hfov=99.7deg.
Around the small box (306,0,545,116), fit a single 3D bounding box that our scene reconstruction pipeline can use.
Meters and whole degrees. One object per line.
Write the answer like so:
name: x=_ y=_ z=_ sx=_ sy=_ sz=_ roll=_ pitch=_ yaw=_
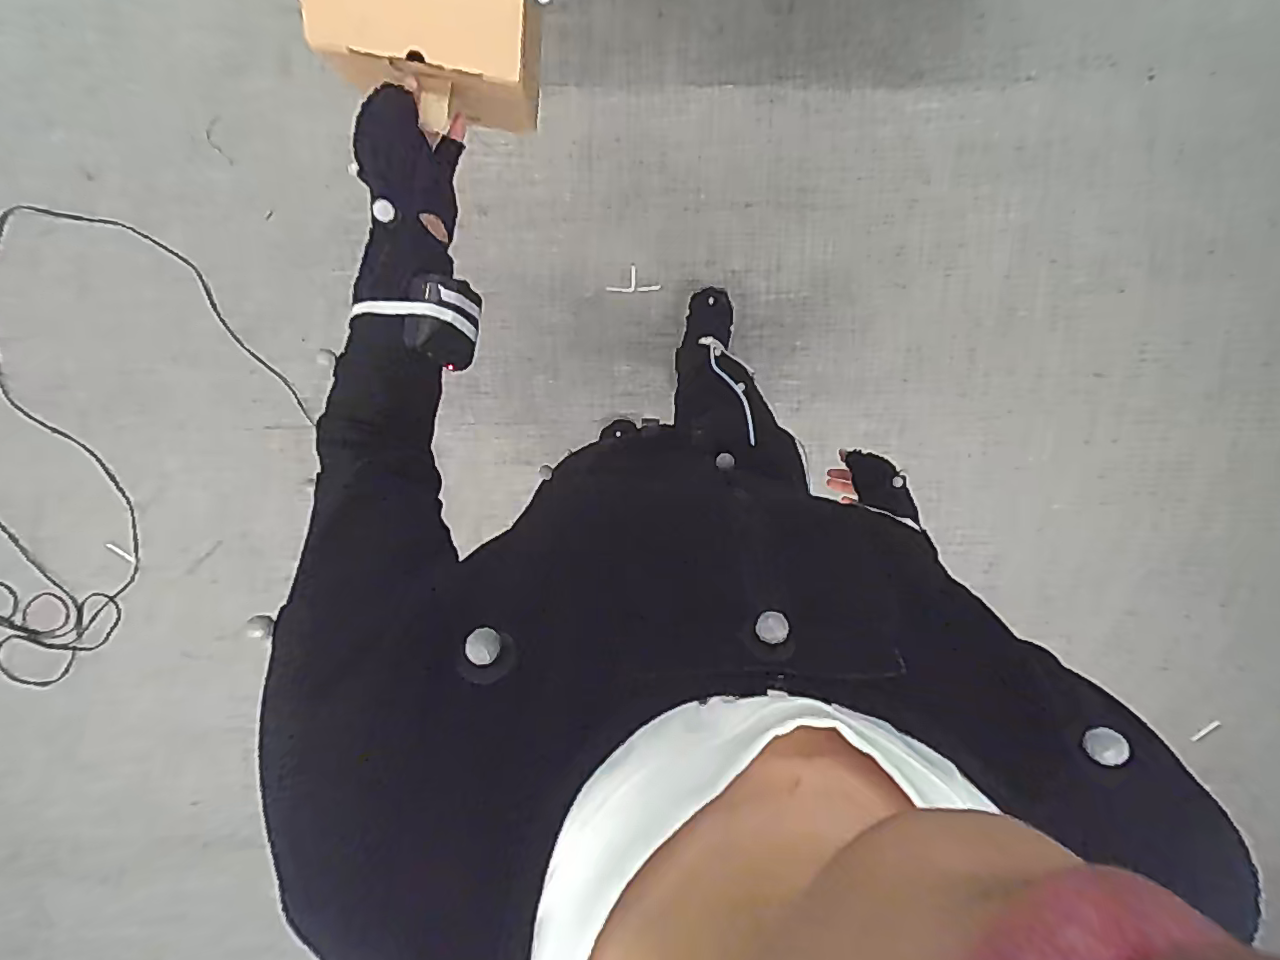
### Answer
small box: x=-0.172 y=-0.450 z=0.470 sx=0.168 sy=0.176 sz=0.179 roll=5 pitch=112 yaw=-9
